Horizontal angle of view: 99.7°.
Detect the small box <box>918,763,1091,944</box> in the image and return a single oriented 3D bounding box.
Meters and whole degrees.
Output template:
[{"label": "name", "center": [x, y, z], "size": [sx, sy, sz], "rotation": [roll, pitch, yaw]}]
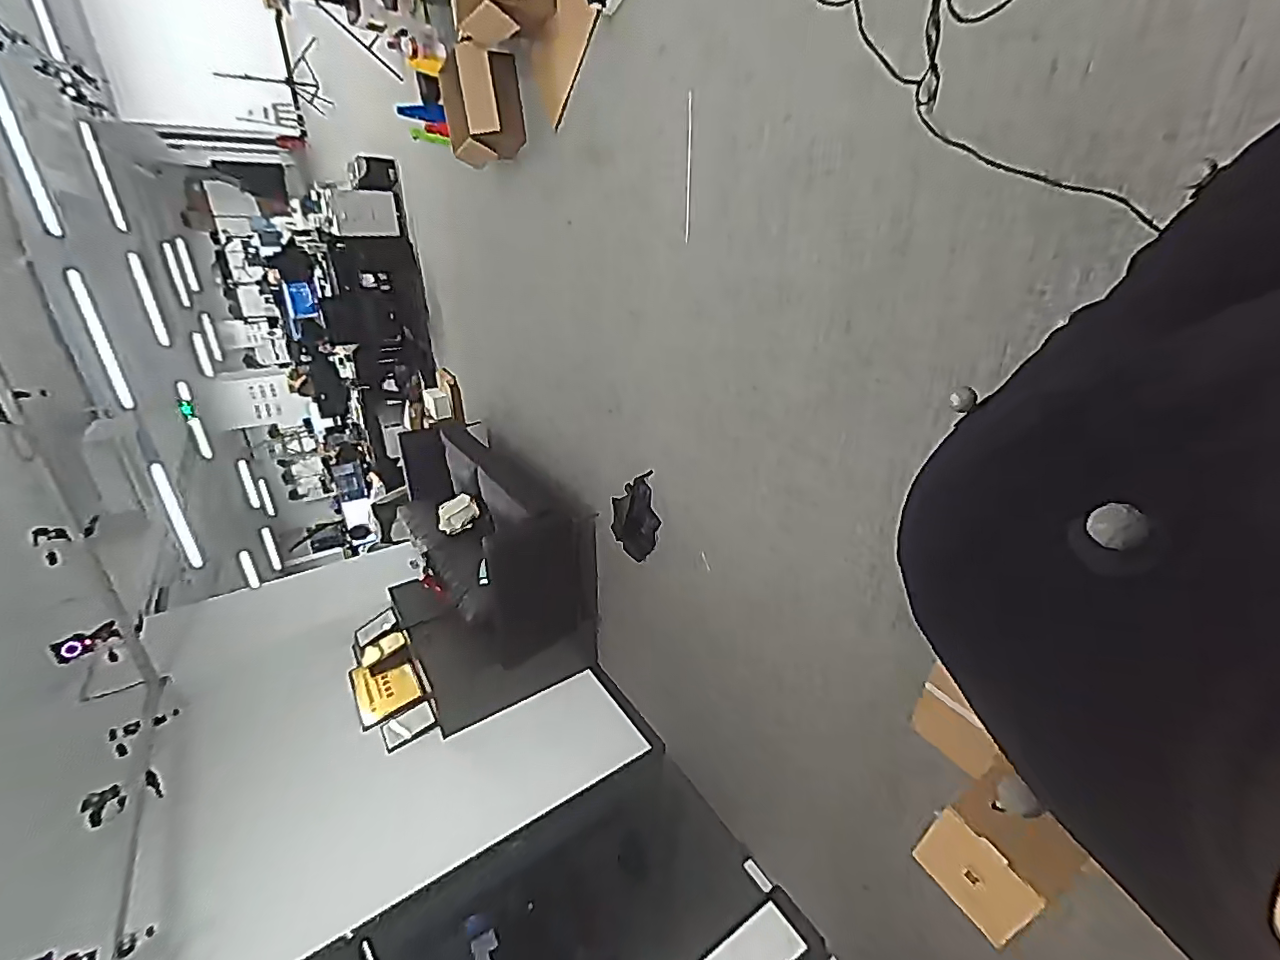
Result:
[{"label": "small box", "center": [0.631, 0.637, 0.939], "size": [0.168, 0.176, 0.179], "rotation": [43, 139, 45]}]
